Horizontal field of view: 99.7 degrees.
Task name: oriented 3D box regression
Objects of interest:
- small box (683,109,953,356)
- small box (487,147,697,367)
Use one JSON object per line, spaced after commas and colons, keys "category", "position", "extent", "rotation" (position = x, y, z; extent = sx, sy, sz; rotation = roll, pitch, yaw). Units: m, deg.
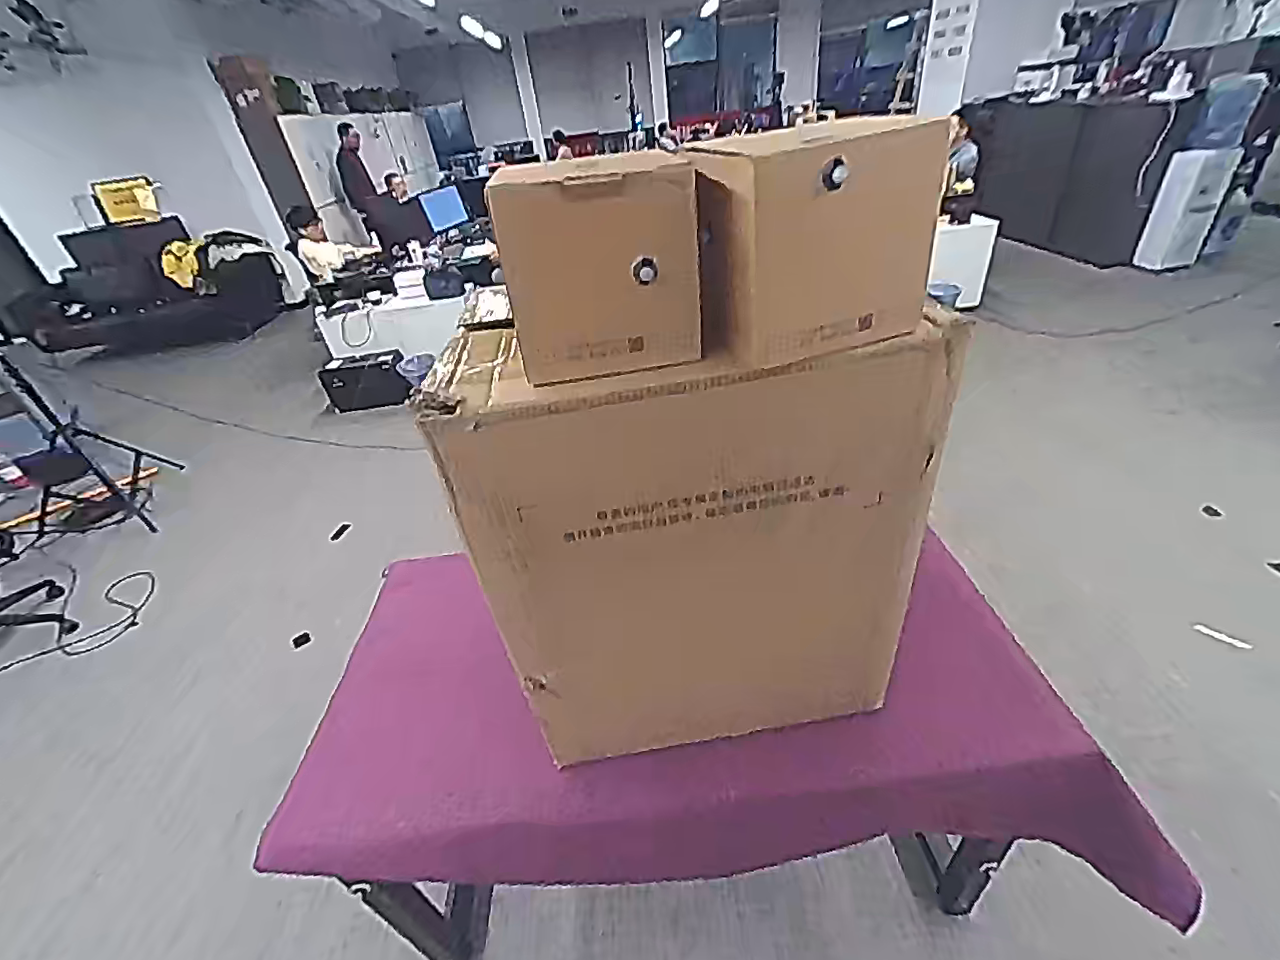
{"category": "small box", "position": [0.148, -0.232, 0.508], "extent": [0.168, 0.176, 0.179], "rotation": [-15, 34, -8]}
{"category": "small box", "position": [-0.041, -0.216, 0.528], "extent": [0.168, 0.176, 0.179], "rotation": [-8, 33, -5]}
